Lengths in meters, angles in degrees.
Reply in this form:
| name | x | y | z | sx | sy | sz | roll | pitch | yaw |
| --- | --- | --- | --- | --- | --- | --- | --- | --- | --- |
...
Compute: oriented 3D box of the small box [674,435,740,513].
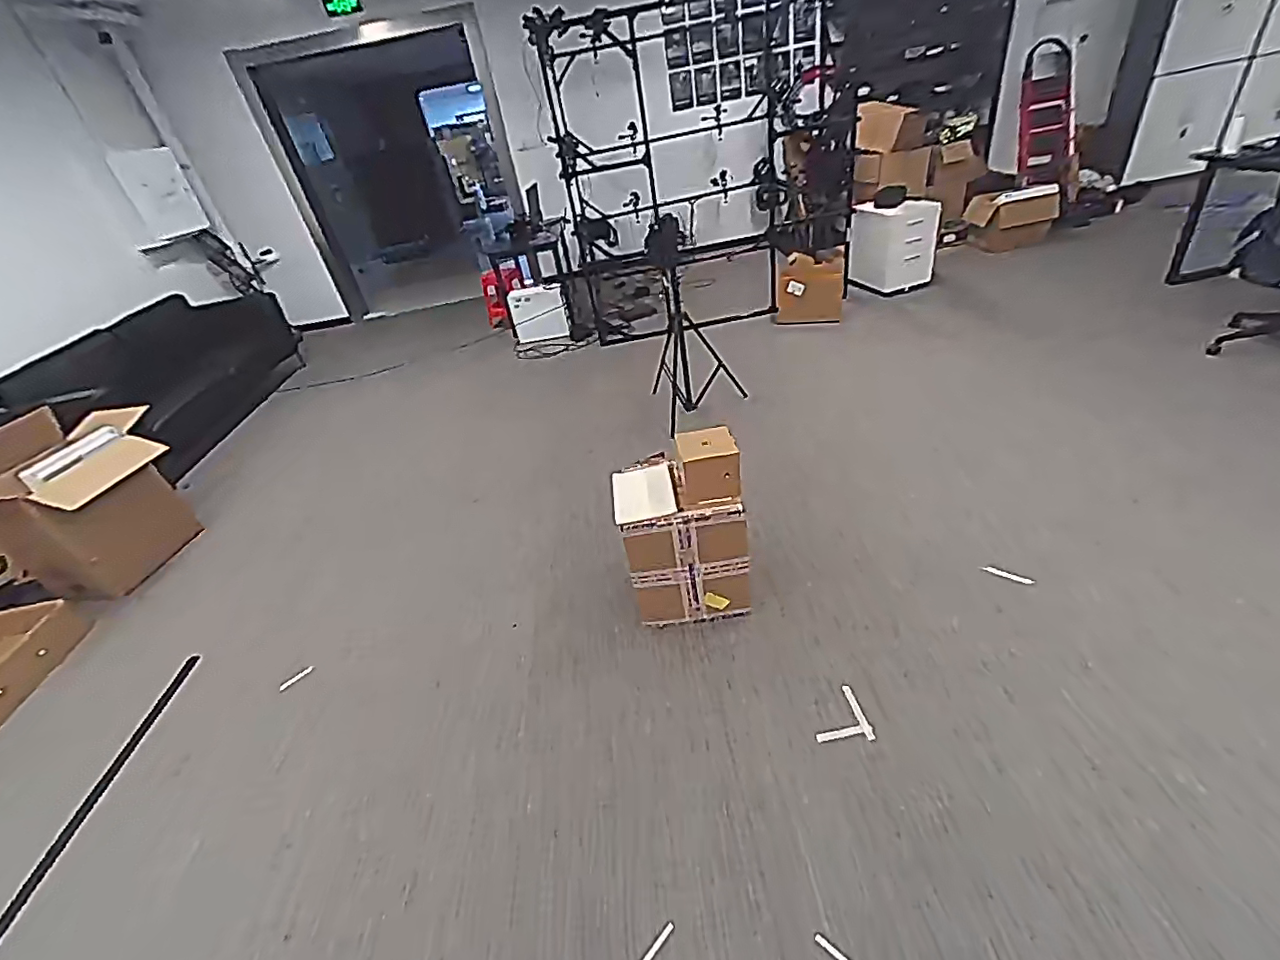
| name | x | y | z | sx | sy | sz | roll | pitch | yaw |
| --- | --- | --- | --- | --- | --- | --- | --- | --- | --- |
| small box | 0.211 | -0.017 | 1.708 | 0.179 | 0.176 | 0.168 | -10 | 36 | -1 |
